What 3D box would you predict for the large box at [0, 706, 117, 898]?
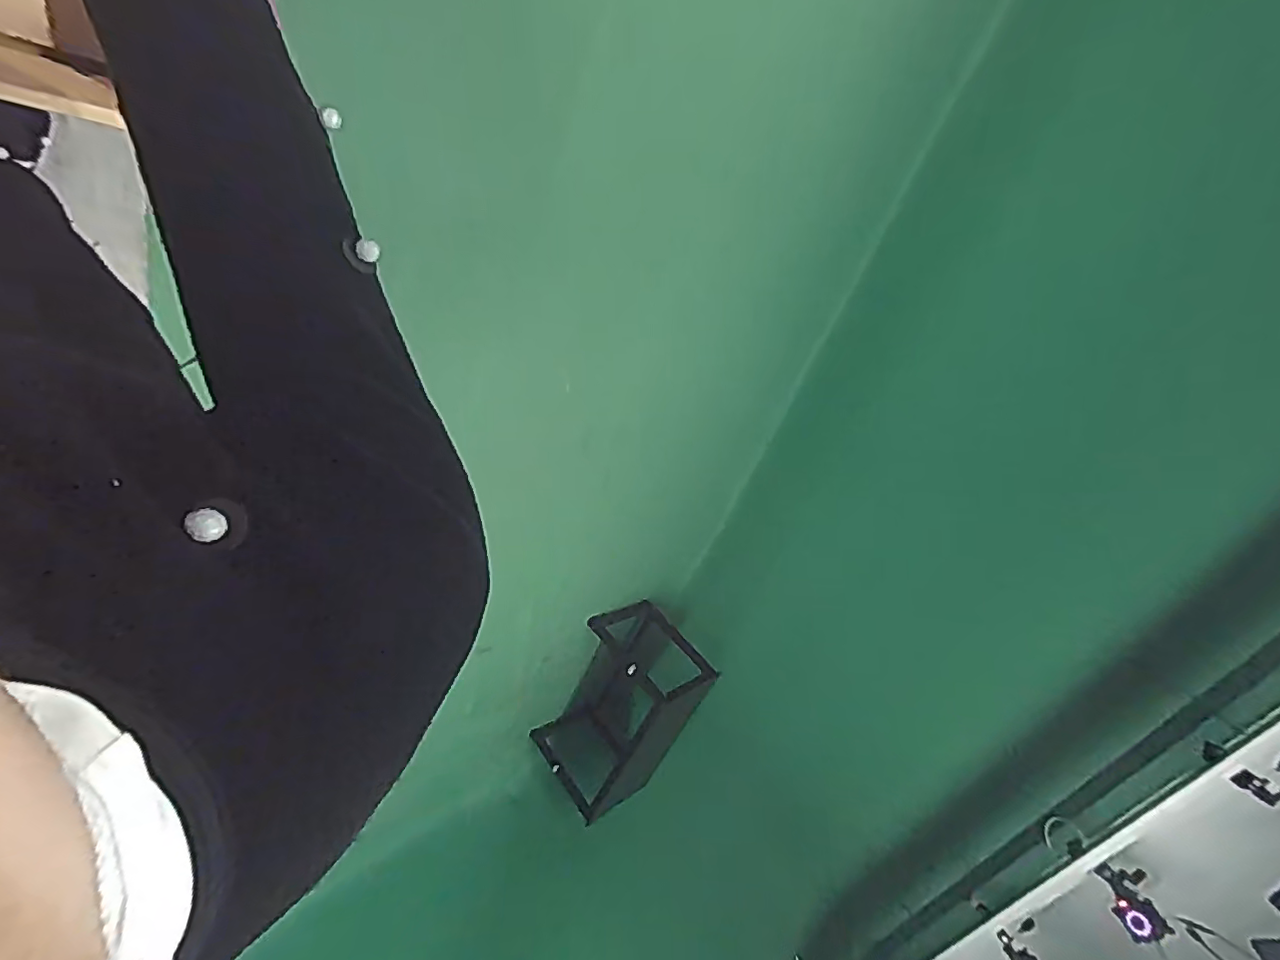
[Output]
[{"bbox_3d":[-1.772,0.905,1.456,0.408,0.320,0.320,-35,147,-23],"label":"large box"}]
